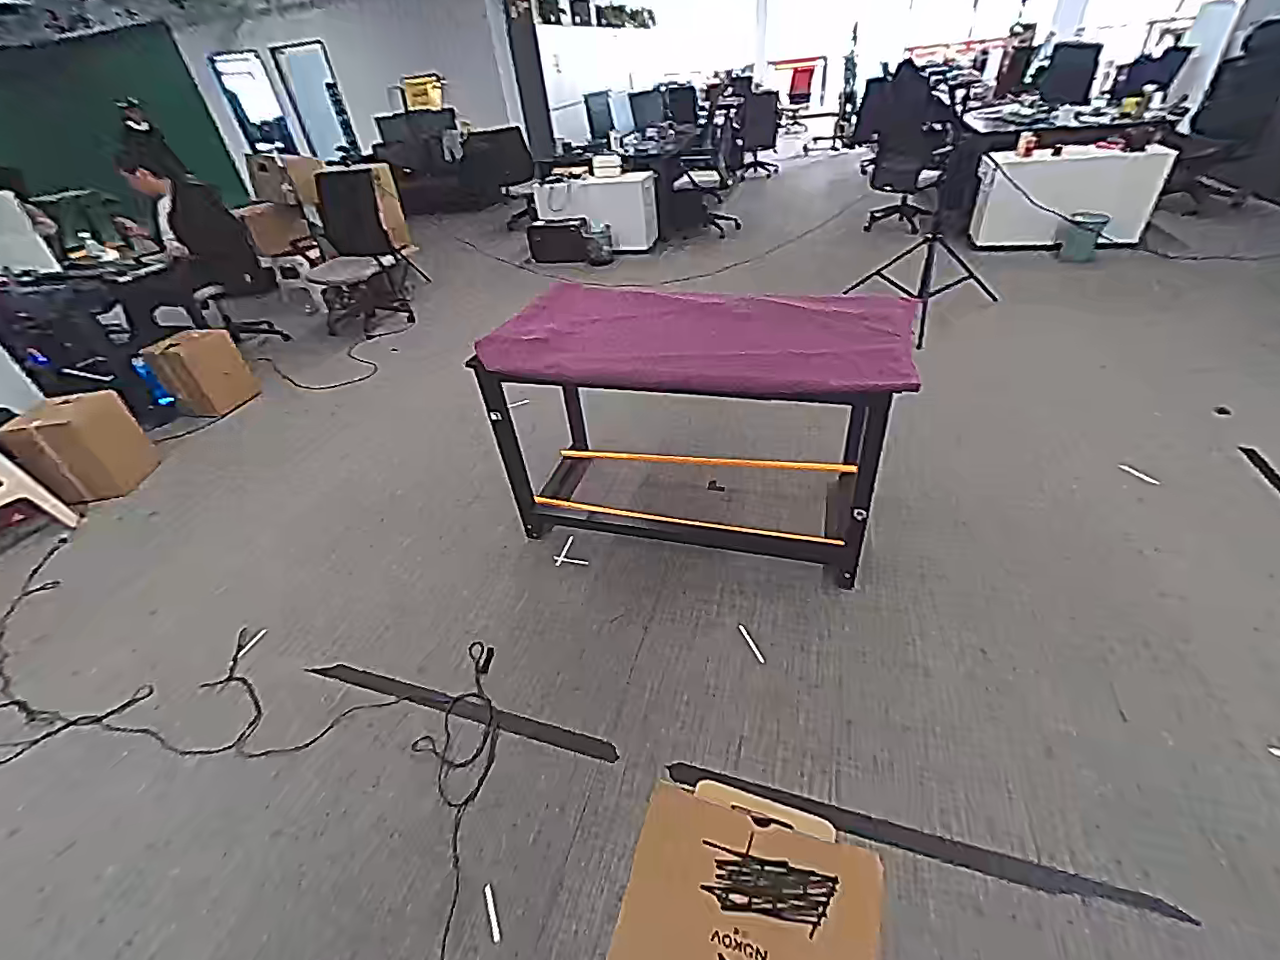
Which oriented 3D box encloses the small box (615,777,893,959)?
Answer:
[{"bbox_3d":[0.080,0.358,0.400,0.168,0.176,0.179,8,50,19],"label":"small box"}]
